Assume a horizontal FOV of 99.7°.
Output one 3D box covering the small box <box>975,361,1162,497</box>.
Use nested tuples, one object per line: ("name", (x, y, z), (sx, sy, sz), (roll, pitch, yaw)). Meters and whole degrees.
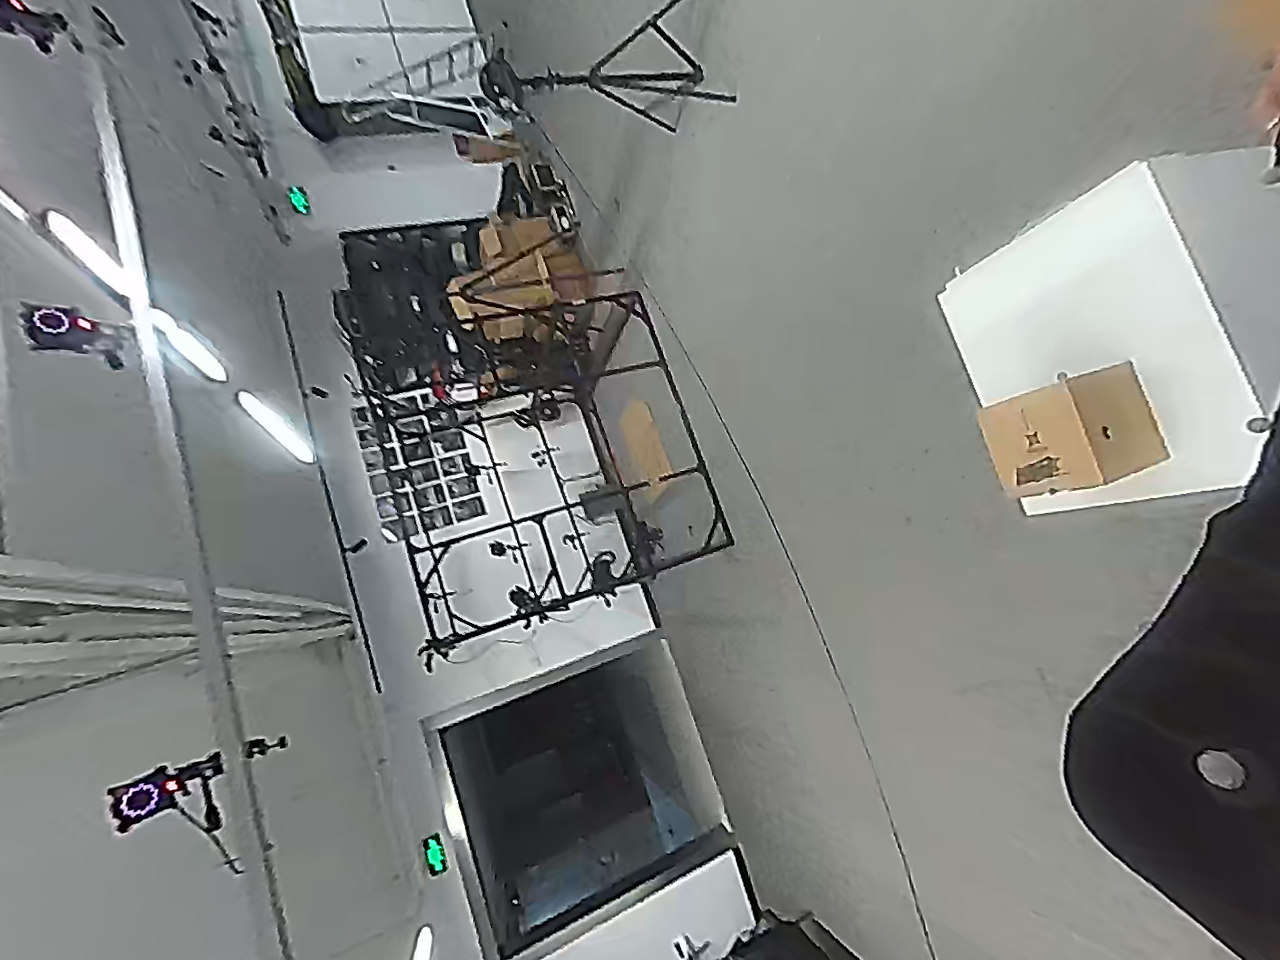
("small box", (0.736, -0.085, 0.932), (0.168, 0.176, 0.179), (148, 106, -71))
